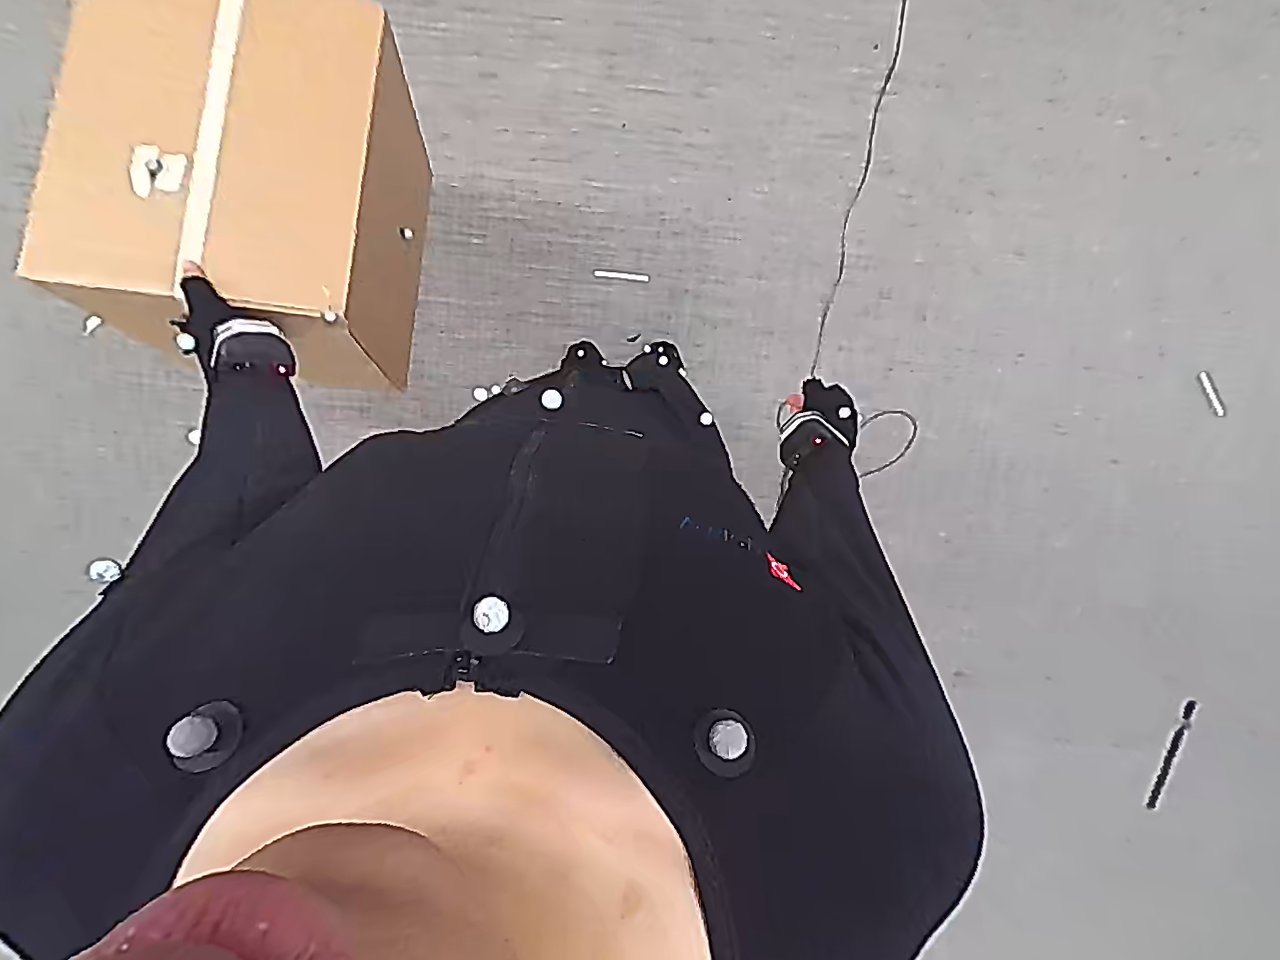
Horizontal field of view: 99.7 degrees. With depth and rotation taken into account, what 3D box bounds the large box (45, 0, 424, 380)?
[{"bbox_3d":[-0.508,-0.388,0.768,0.320,0.320,0.408,4,85,-9],"label":"large box"}]
